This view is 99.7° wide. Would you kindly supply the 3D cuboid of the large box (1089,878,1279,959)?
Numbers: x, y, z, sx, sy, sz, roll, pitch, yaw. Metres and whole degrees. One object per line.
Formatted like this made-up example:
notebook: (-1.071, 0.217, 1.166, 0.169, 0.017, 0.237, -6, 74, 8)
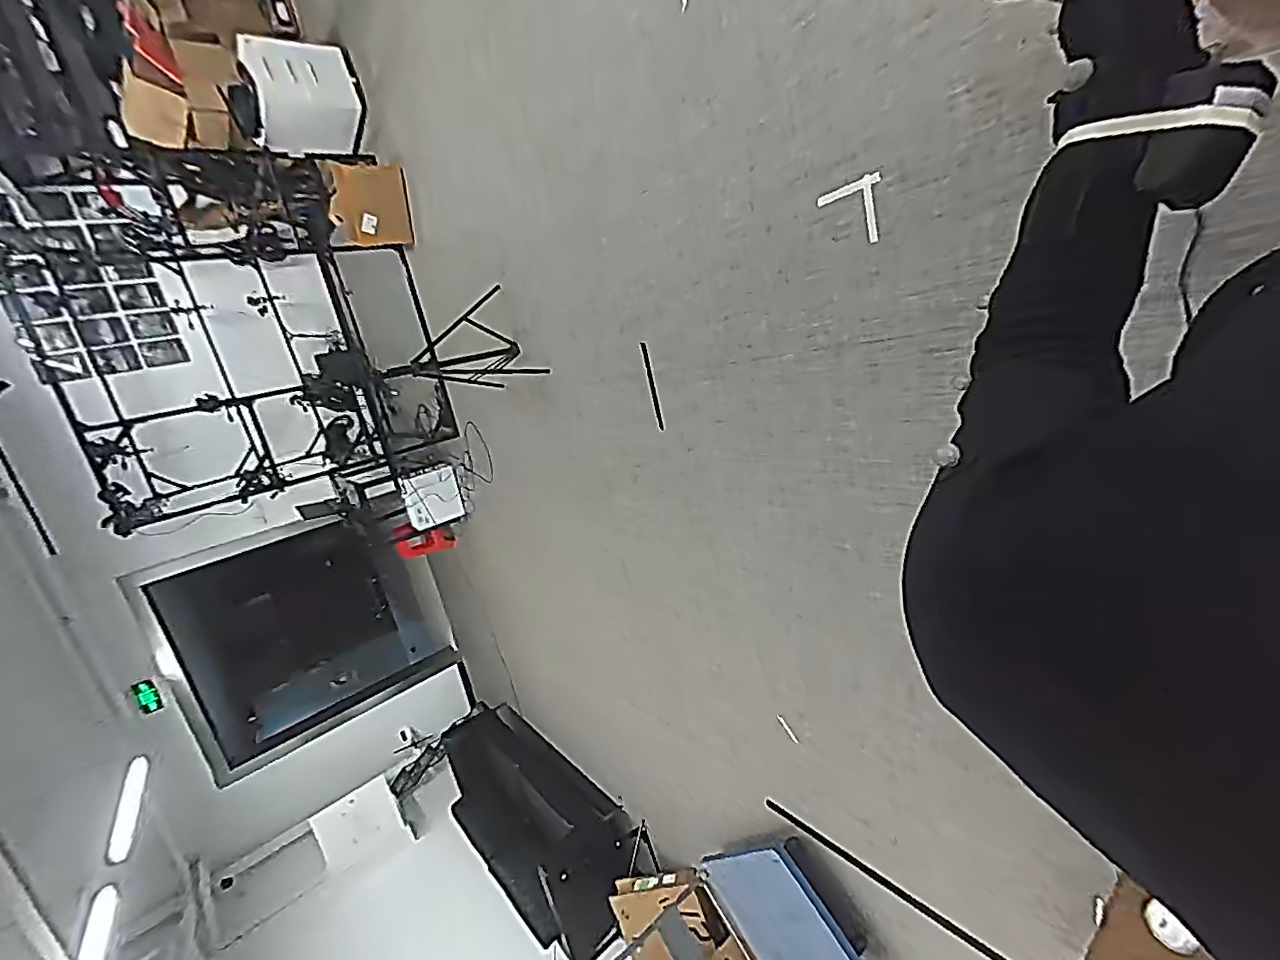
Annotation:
large box: (1.249, 1.246, 1.214, 0.320, 0.320, 0.408, 4, 111, 53)
